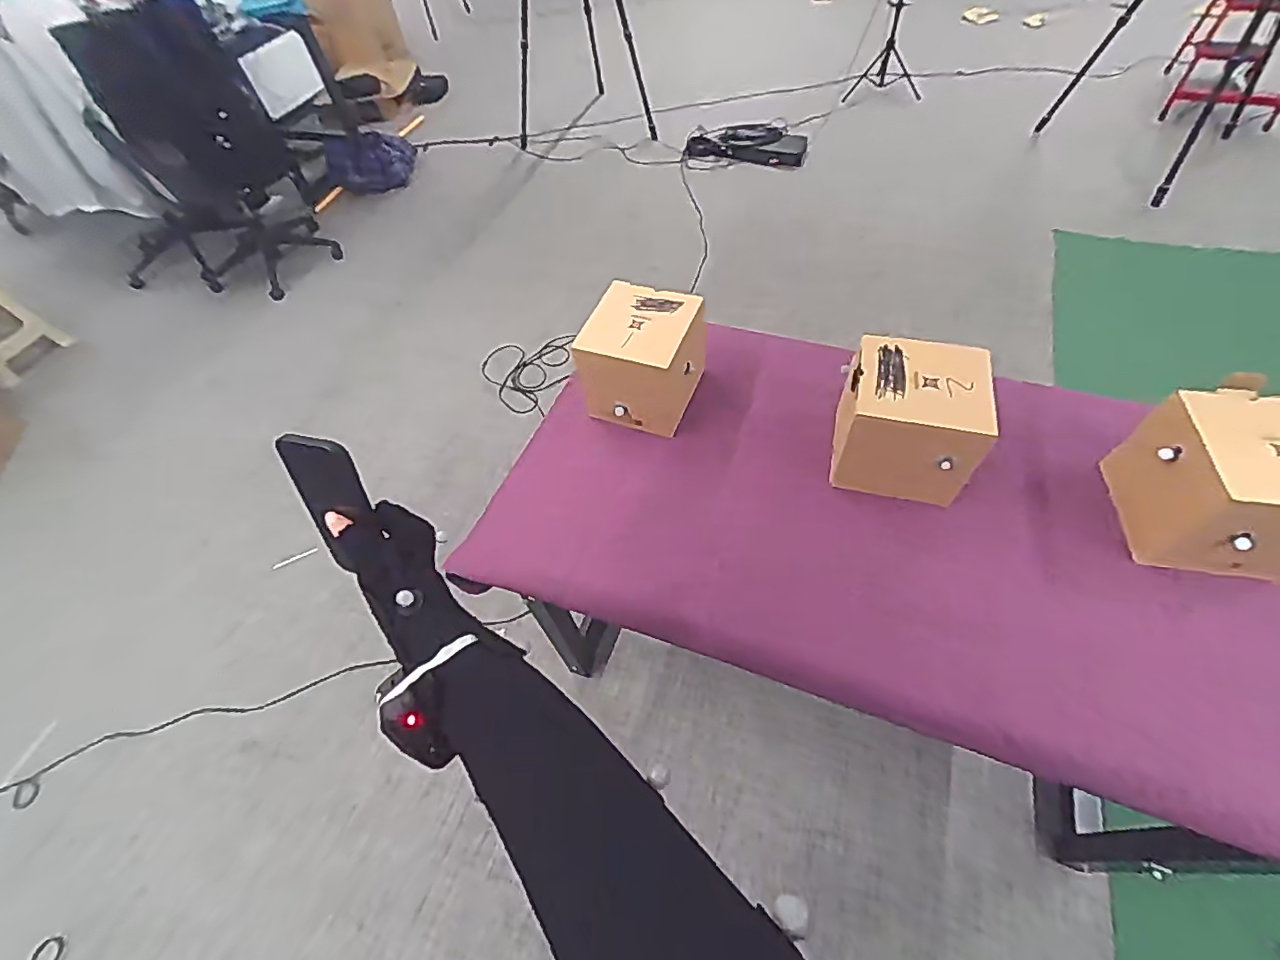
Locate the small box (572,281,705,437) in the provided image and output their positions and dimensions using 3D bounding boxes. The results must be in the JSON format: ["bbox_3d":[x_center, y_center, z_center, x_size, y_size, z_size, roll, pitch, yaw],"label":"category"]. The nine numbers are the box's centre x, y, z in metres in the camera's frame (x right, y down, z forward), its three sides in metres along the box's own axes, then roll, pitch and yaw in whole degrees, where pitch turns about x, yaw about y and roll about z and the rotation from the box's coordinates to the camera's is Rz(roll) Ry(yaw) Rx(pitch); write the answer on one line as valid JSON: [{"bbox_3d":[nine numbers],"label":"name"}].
[{"bbox_3d":[0.004,-0.205,0.924,0.168,0.176,0.179,17,60,16],"label":"small box"}]

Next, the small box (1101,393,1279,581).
[{"bbox_3d":[0.756,0.013,0.701,0.168,0.176,0.179,6,55,11],"label":"small box"}]
